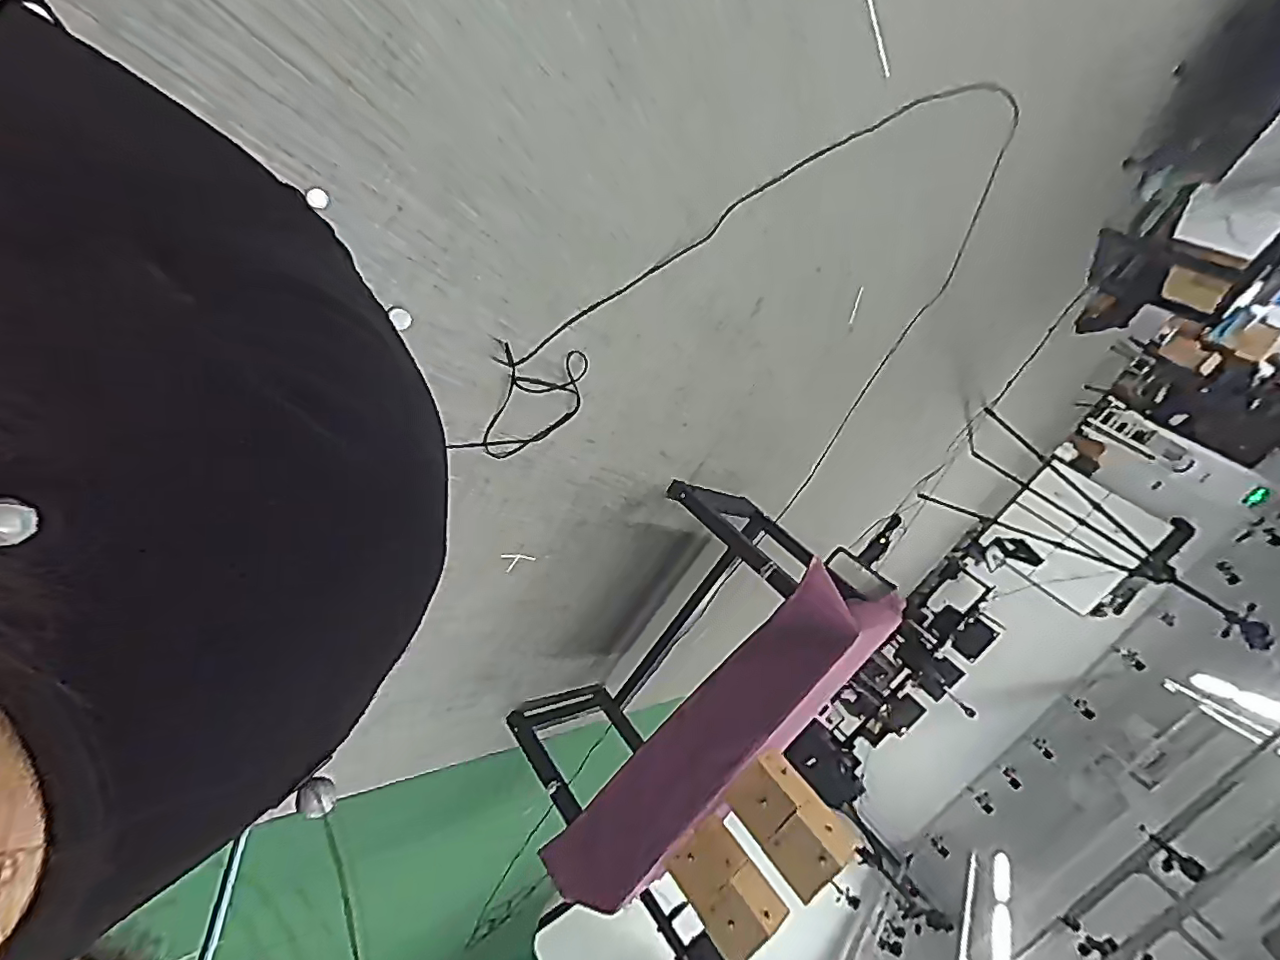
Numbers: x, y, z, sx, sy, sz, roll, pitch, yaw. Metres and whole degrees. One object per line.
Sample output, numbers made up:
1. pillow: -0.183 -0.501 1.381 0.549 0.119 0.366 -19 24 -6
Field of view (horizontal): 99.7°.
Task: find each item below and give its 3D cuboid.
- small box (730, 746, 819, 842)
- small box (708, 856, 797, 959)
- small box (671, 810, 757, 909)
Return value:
1. small box: 0.404 0.933 1.632 0.179 0.176 0.168 -55 146 10
2. small box: 0.332 1.278 1.615 0.168 0.176 0.179 -54 147 11
3. small box: 0.232 1.182 1.704 0.168 0.176 0.179 -54 146 10
